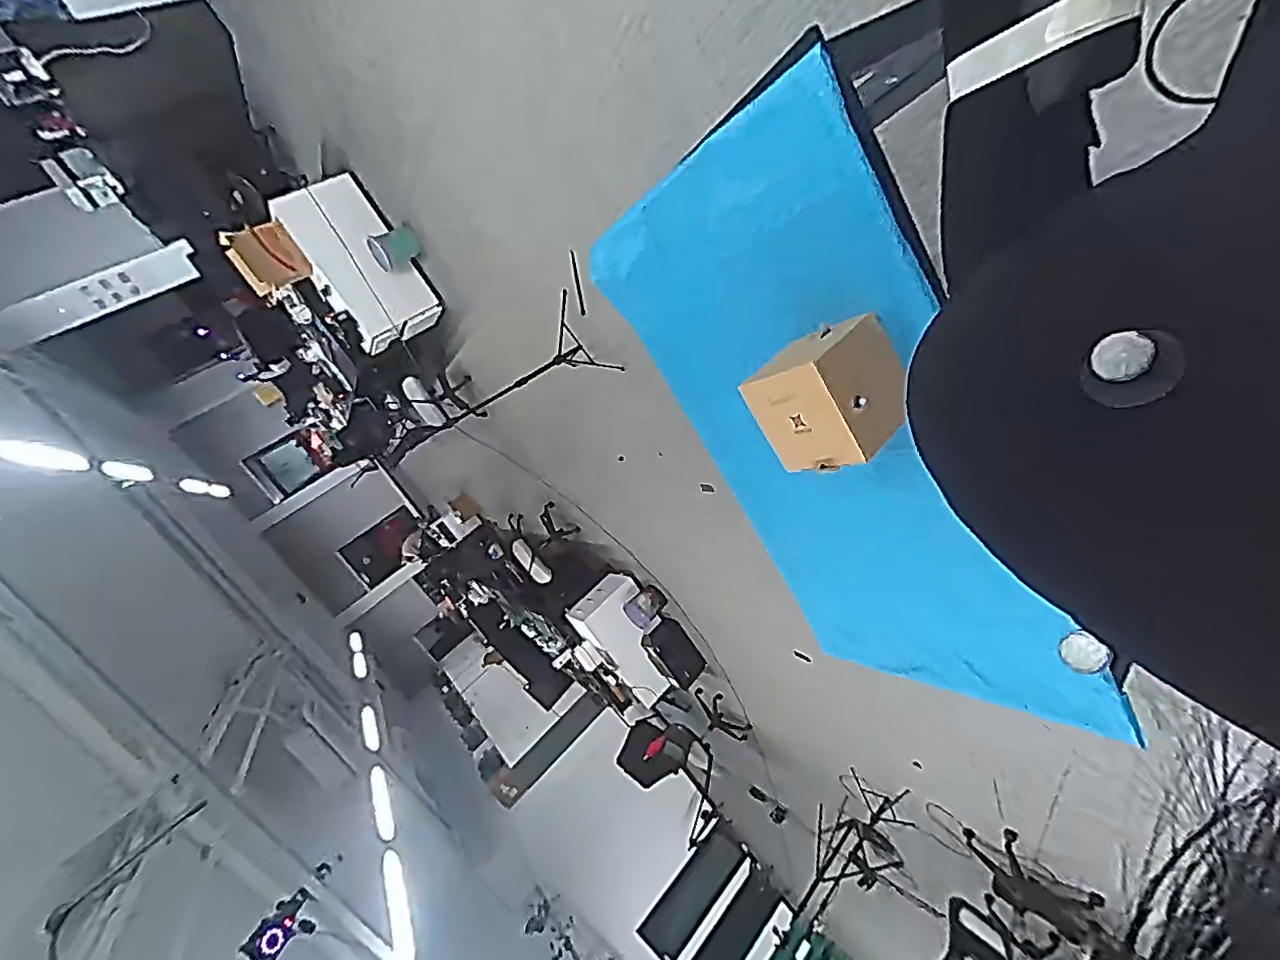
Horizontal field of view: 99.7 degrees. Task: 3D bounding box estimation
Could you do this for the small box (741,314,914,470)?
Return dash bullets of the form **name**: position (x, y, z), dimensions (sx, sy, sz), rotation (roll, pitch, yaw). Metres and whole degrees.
- **small box**: position (0.307, -0.137, 0.879), dimensions (0.179, 0.176, 0.168), rotation (57, 154, -14)
